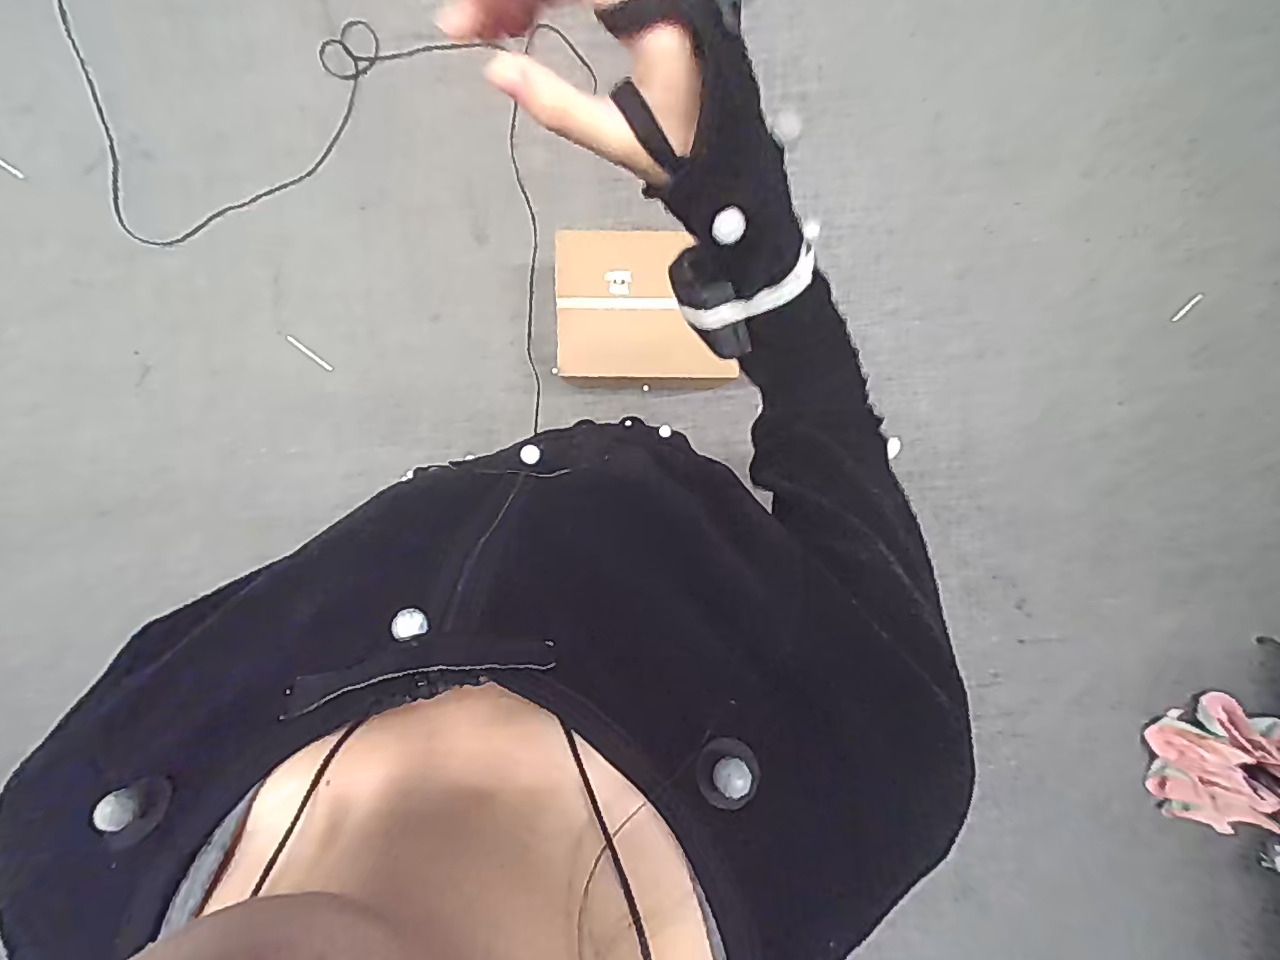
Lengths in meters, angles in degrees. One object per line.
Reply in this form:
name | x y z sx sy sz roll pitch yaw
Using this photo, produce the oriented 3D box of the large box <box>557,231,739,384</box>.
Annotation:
large box | 0.017 -0.401 1.332 0.408 0.320 0.320 1 95 -1
